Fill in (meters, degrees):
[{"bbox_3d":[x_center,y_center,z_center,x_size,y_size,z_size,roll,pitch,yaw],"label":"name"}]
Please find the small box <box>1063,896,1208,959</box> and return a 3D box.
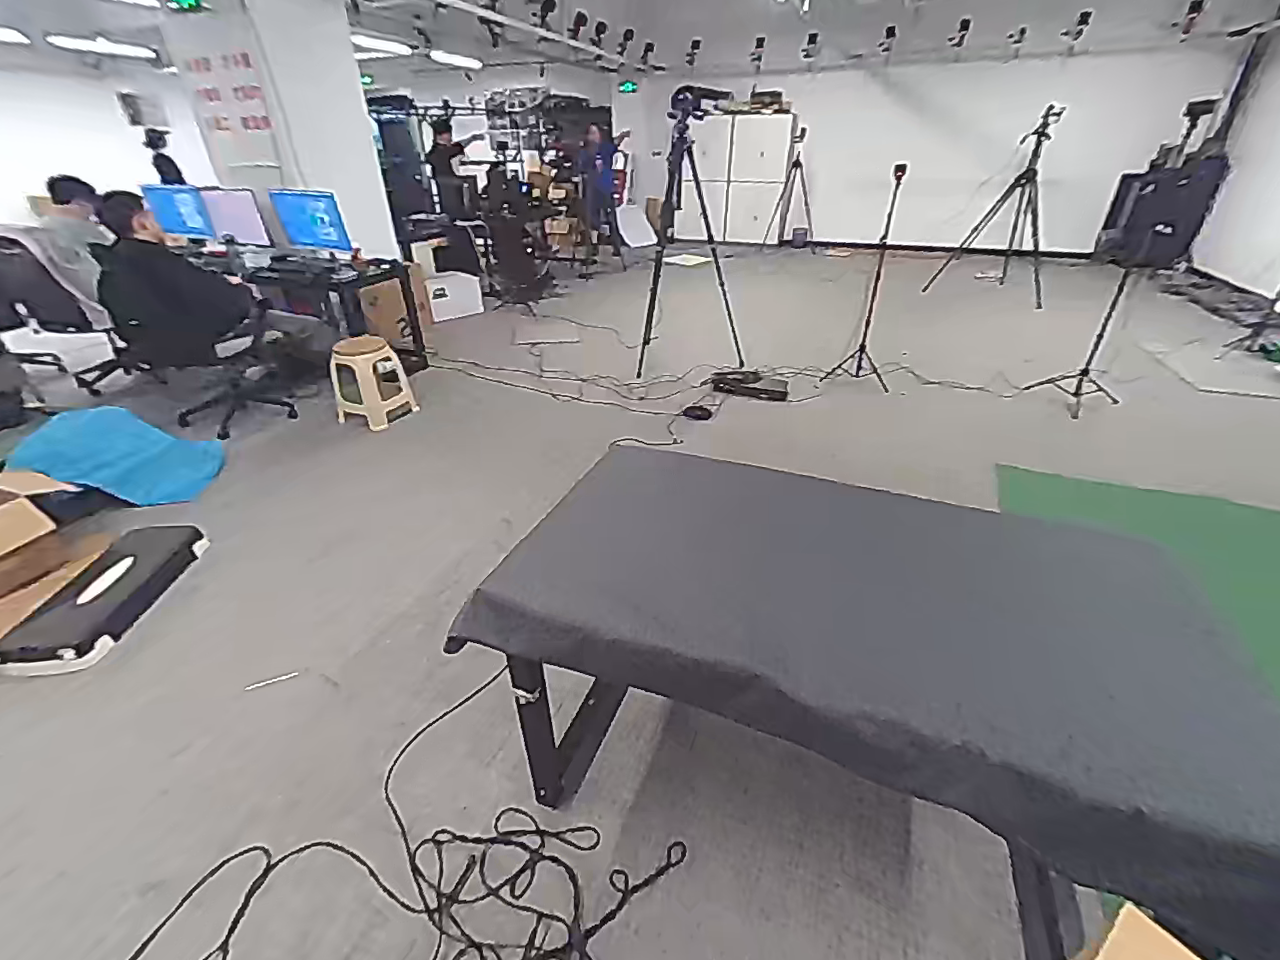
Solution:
[{"bbox_3d":[0.320,0.422,0.325,0.179,0.176,0.168,-20,35,-30],"label":"small box"}]
